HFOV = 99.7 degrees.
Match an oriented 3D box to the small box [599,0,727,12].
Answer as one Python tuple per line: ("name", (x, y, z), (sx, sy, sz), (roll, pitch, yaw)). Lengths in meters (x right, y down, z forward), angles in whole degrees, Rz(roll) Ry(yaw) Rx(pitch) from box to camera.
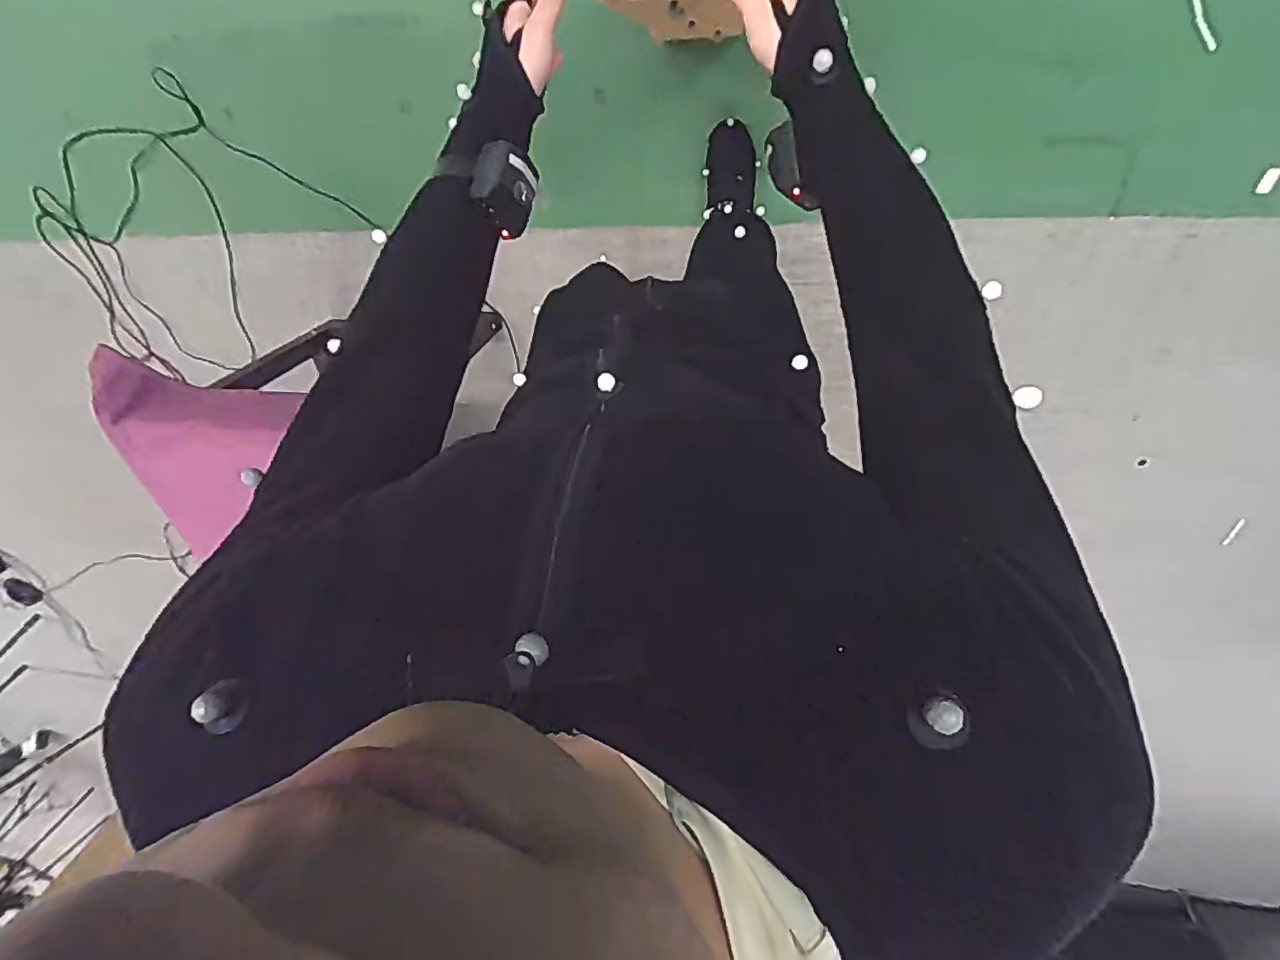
("small box", (0.036, -0.693, 0.656), (0.168, 0.176, 0.179), (1, 126, 11))

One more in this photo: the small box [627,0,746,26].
("small box", (0.070, -0.786, 0.786), (0.179, 0.176, 0.168), (-1, 125, 11))

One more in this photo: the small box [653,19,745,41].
("small box", (0.119, -0.969, 1.051), (0.179, 0.176, 0.168), (3, 125, 9))

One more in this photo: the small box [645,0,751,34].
("small box", (0.100, -0.878, 0.918), (0.179, 0.176, 0.168), (1, 125, 11))
